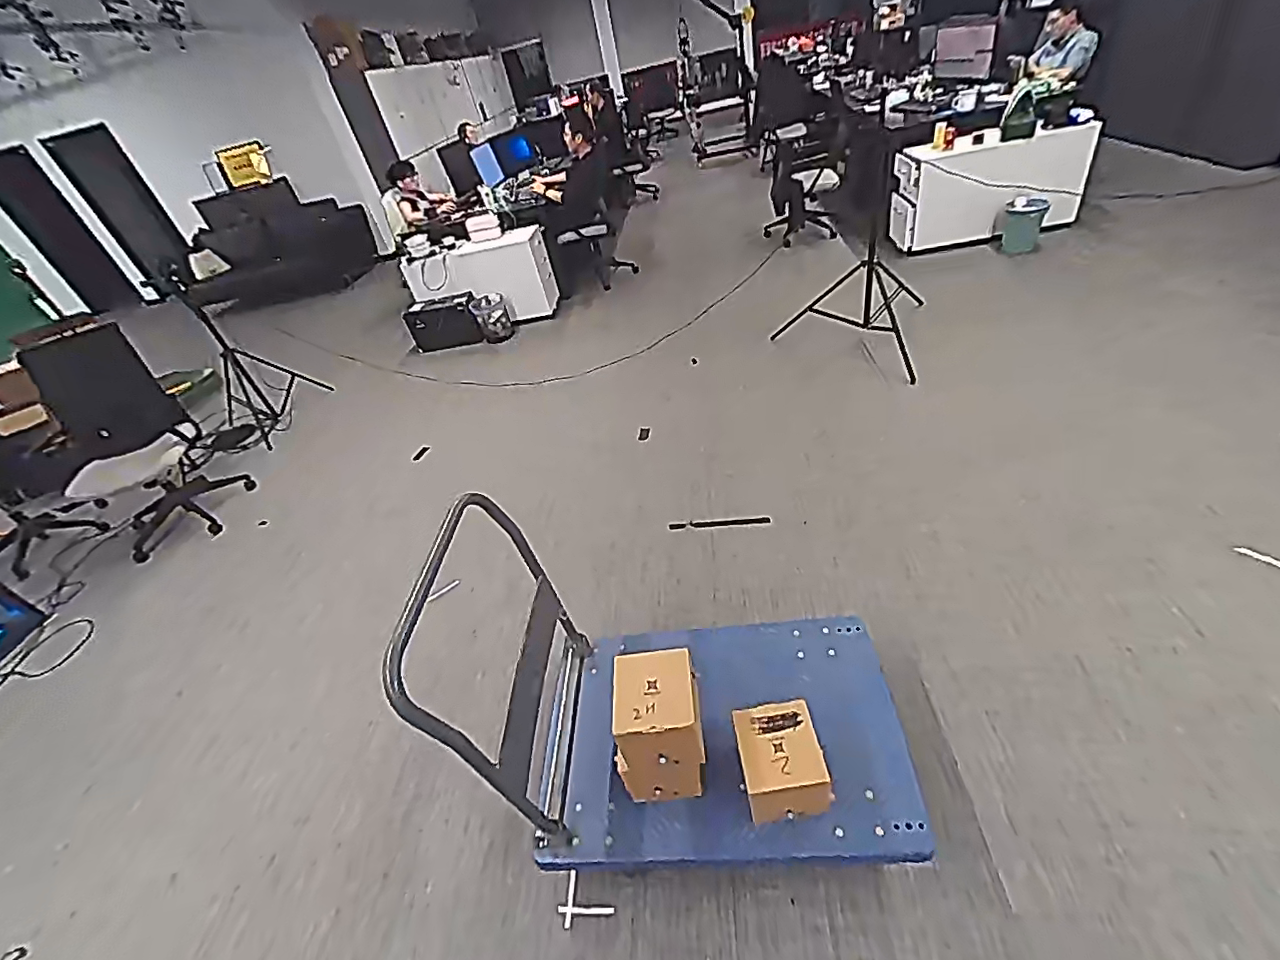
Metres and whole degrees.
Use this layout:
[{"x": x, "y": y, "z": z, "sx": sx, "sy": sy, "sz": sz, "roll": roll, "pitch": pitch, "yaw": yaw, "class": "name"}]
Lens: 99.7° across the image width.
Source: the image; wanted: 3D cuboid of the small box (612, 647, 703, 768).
[{"x": 0.040, "y": 0.486, "z": 1.156, "sx": 0.168, "sy": 0.176, "sz": 0.179, "roll": -9, "pitch": 39, "yaw": 7, "class": "small box"}]

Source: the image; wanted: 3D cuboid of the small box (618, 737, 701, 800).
[{"x": 0.045, "y": 0.615, "z": 1.262, "sx": 0.168, "sy": 0.176, "sz": 0.179, "roll": -9, "pitch": 39, "yaw": 6, "class": "small box"}]
